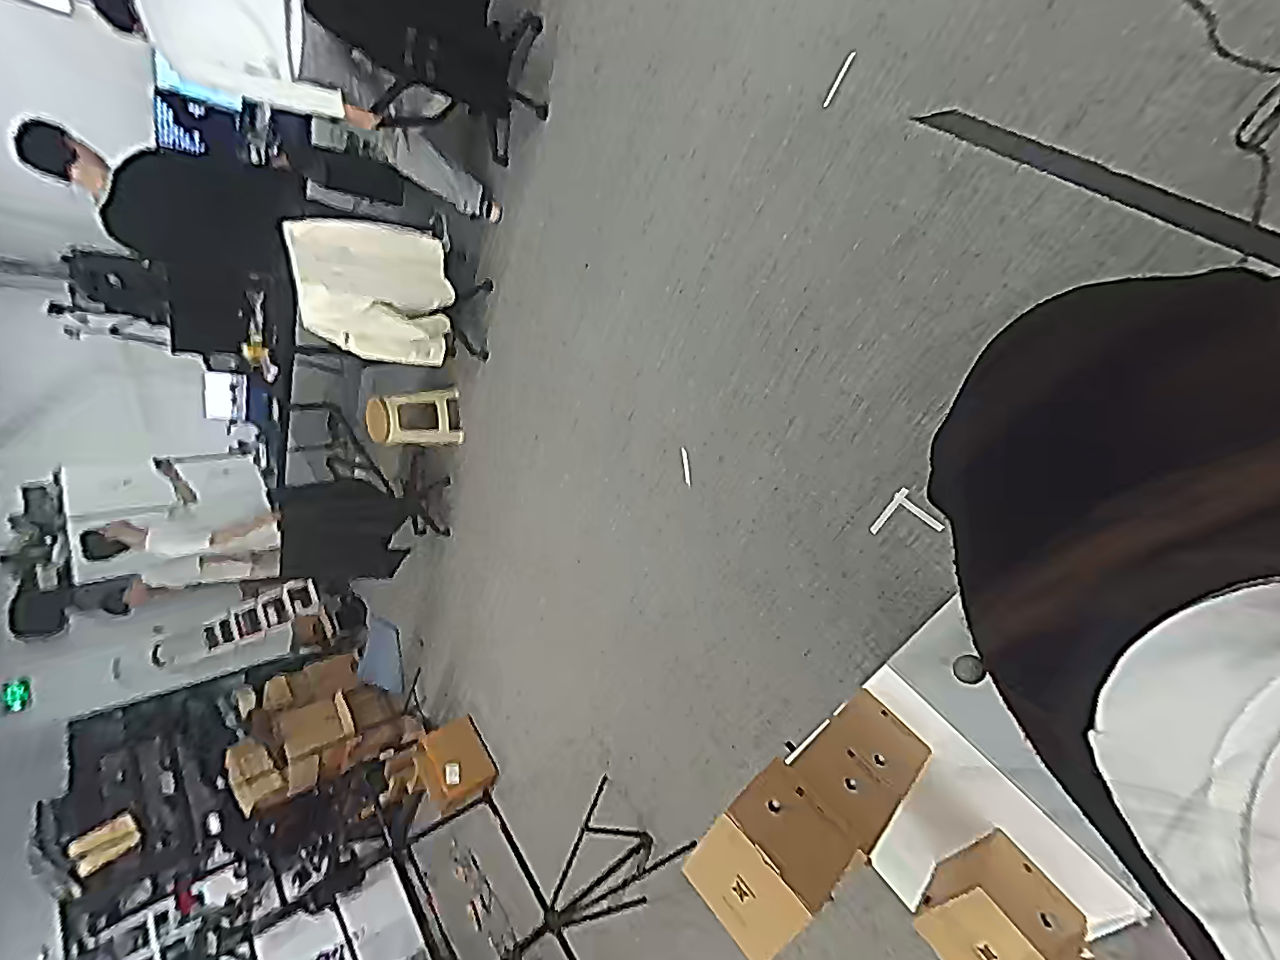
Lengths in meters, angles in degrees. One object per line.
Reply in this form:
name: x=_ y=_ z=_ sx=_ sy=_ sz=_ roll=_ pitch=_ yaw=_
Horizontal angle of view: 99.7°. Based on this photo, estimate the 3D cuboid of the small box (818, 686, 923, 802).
small box: x=0.430 y=0.553 z=1.084 sx=0.168 sy=0.176 sz=0.179 roll=43 pitch=125 yaw=28

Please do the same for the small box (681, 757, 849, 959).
small box: x=0.201 y=0.580 z=0.850 sx=0.168 sy=0.176 sz=0.179 roll=40 pitch=123 yaw=32

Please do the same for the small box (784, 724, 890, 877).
small box: x=0.317 y=0.576 z=0.966 sx=0.168 sy=0.176 sz=0.179 roll=44 pitch=125 yaw=29

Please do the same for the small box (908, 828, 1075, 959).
small box: x=0.616 y=0.757 z=0.946 sx=0.168 sy=0.176 sz=0.179 roll=47 pitch=127 yaw=28
